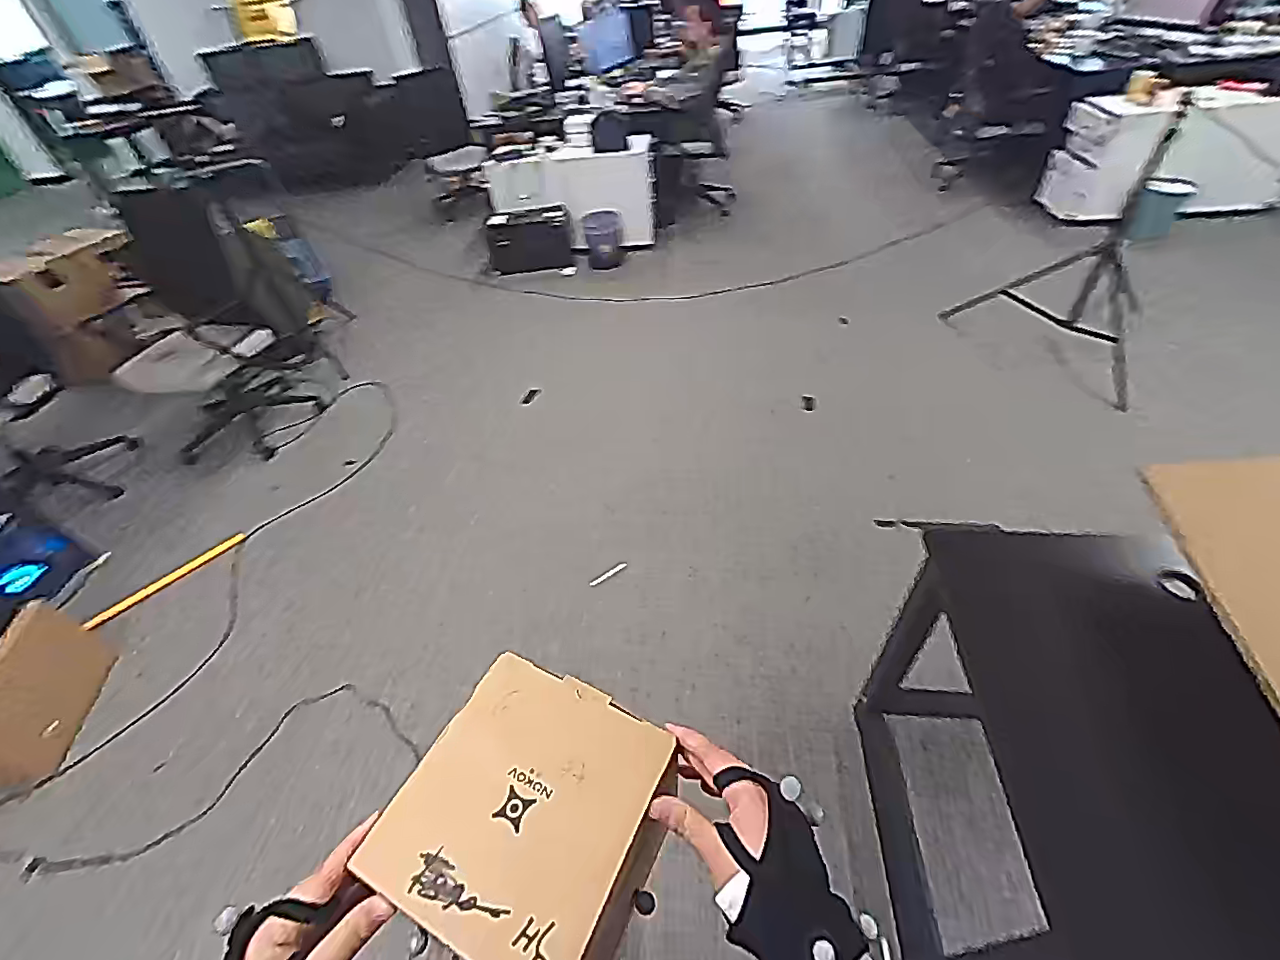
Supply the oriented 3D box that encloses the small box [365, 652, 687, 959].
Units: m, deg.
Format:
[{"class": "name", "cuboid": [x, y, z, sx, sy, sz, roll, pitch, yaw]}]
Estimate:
[{"class": "small box", "cuboid": [-0.073, 0.283, 0.440, 0.168, 0.176, 0.179, 18, 47, 22]}]
